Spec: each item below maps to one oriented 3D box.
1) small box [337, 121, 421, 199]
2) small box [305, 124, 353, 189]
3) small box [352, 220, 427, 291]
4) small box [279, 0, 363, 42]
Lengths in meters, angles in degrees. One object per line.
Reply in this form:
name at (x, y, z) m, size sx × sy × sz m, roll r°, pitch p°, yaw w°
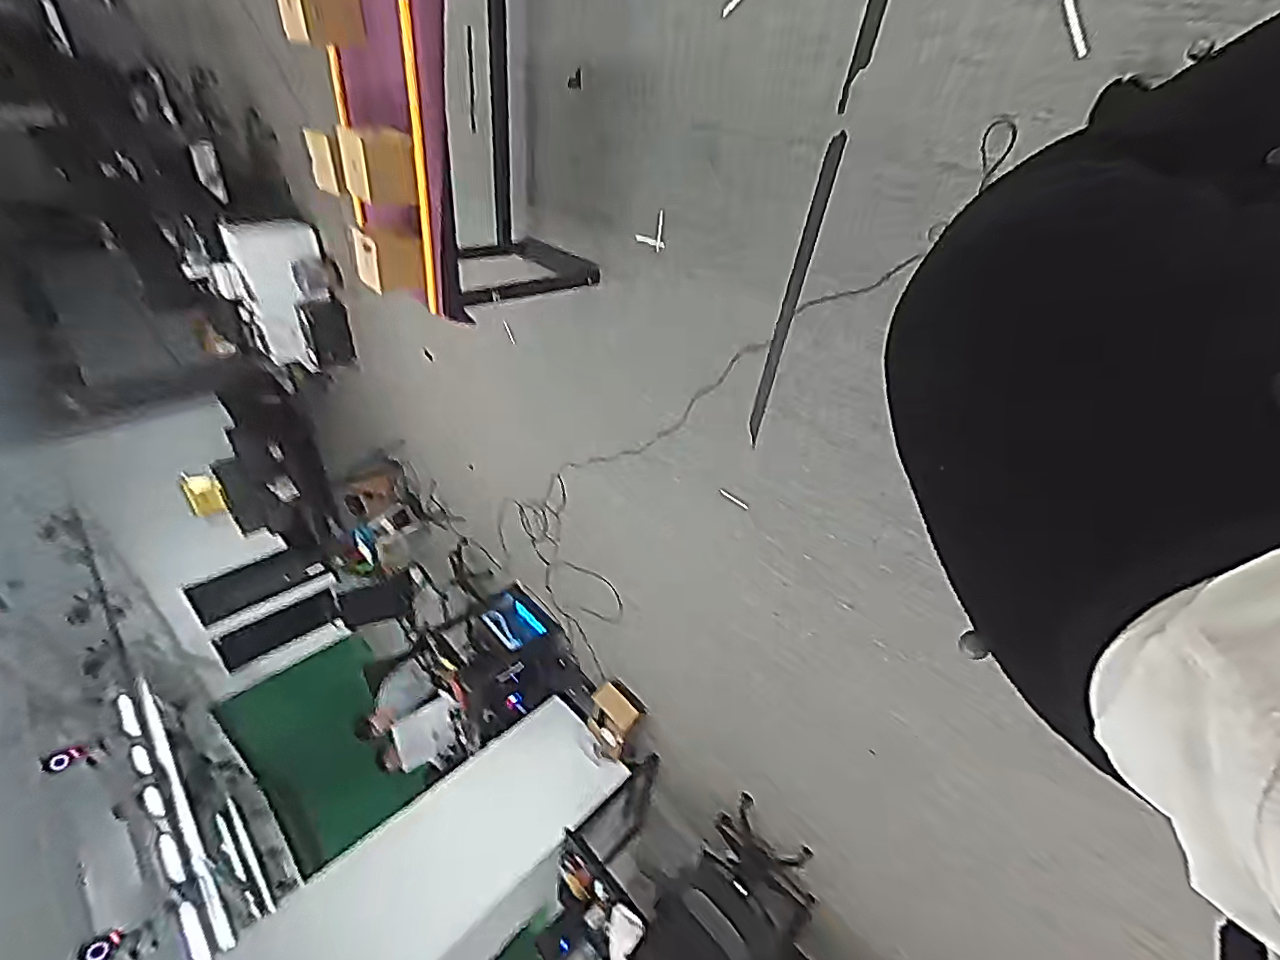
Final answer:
small box at (-0.796, -0.985, 1.664) m, size 0.168 × 0.176 × 0.179 m, roll 37°, pitch 136°, yaw 29°
small box at (-0.990, -1.089, 1.820) m, size 0.179 × 0.176 × 0.168 m, roll 32°, pitch 133°, yaw 31°
small box at (-0.847, -0.771, 1.841) m, size 0.168 × 0.176 × 0.179 m, roll 39°, pitch 136°, yaw 27°
small box at (-0.932, -1.399, 1.572) m, size 0.168 × 0.176 × 0.179 m, roll 34°, pitch 134°, yaw 29°
